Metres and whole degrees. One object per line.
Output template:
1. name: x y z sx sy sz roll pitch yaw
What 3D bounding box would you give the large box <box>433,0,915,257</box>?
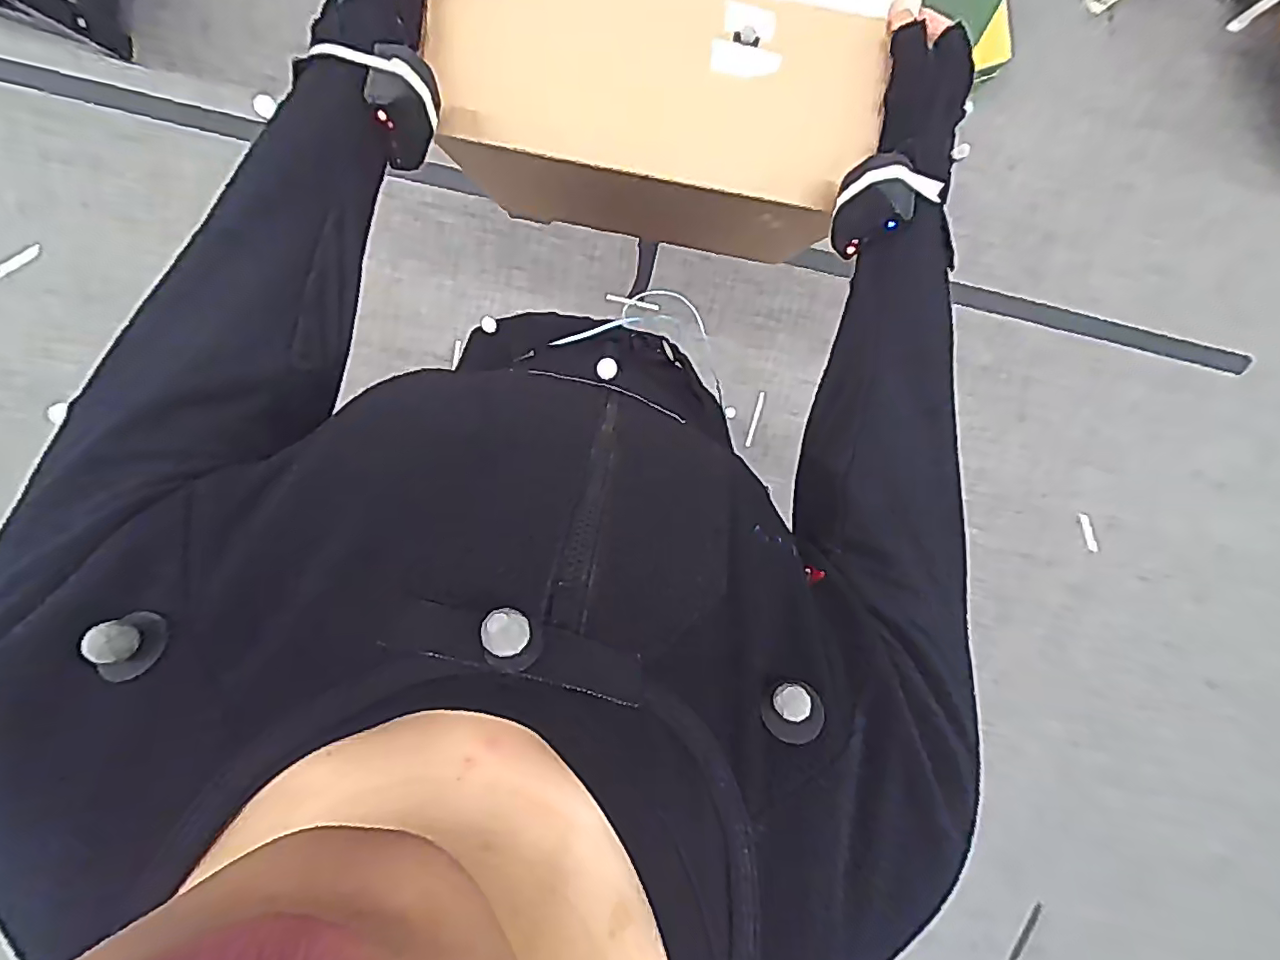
1. large box: 0.032 -0.461 0.594 0.408 0.320 0.320 10 105 -4
